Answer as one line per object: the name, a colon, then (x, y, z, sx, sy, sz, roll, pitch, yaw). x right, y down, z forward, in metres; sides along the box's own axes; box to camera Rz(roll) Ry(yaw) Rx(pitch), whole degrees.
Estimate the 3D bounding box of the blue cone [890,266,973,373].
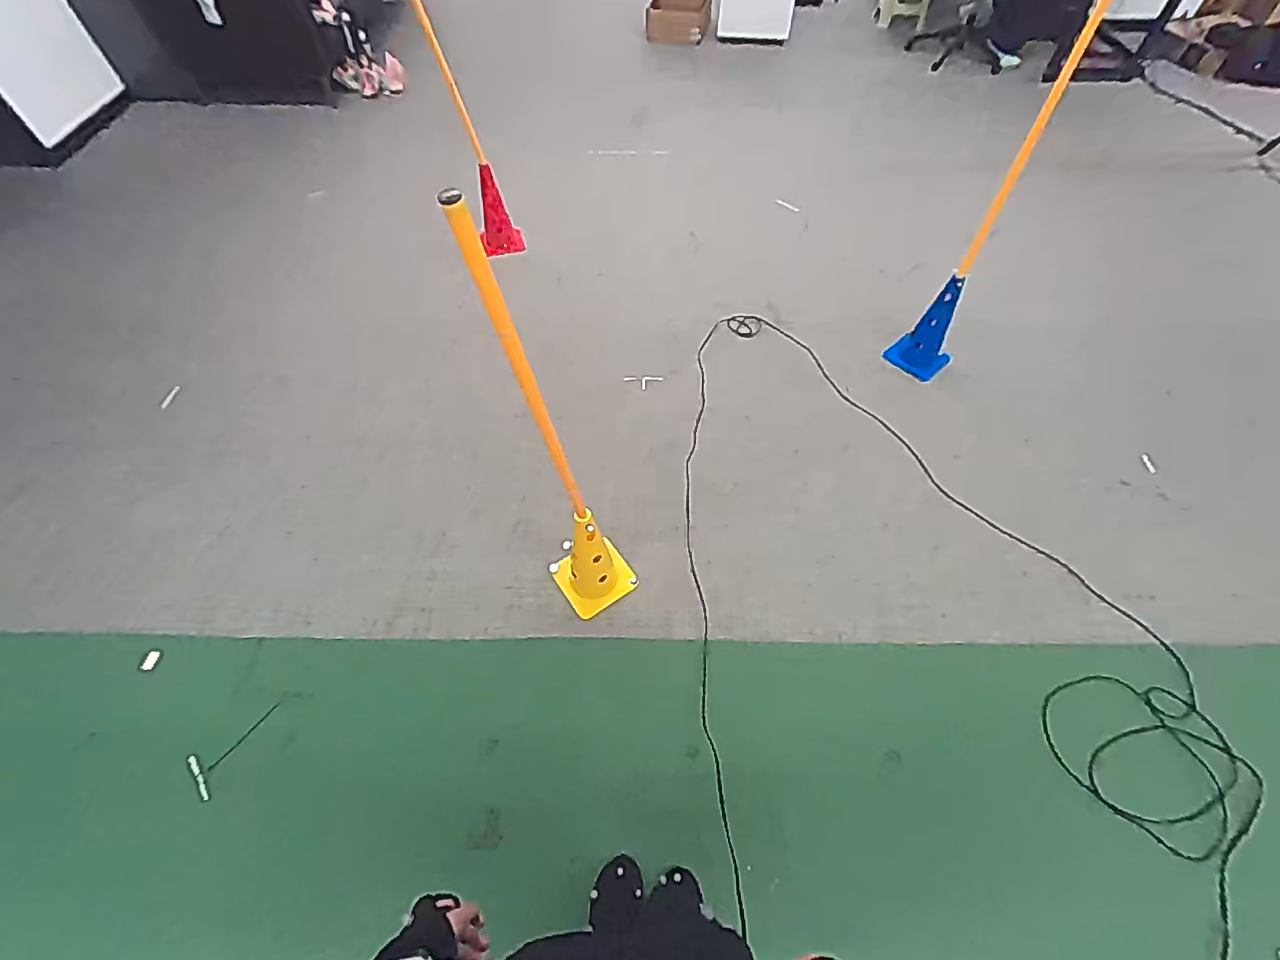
blue cone: (1.074, -0.591, 1.938, 0.193, 0.380, 0.192, -38, 63, -24)
